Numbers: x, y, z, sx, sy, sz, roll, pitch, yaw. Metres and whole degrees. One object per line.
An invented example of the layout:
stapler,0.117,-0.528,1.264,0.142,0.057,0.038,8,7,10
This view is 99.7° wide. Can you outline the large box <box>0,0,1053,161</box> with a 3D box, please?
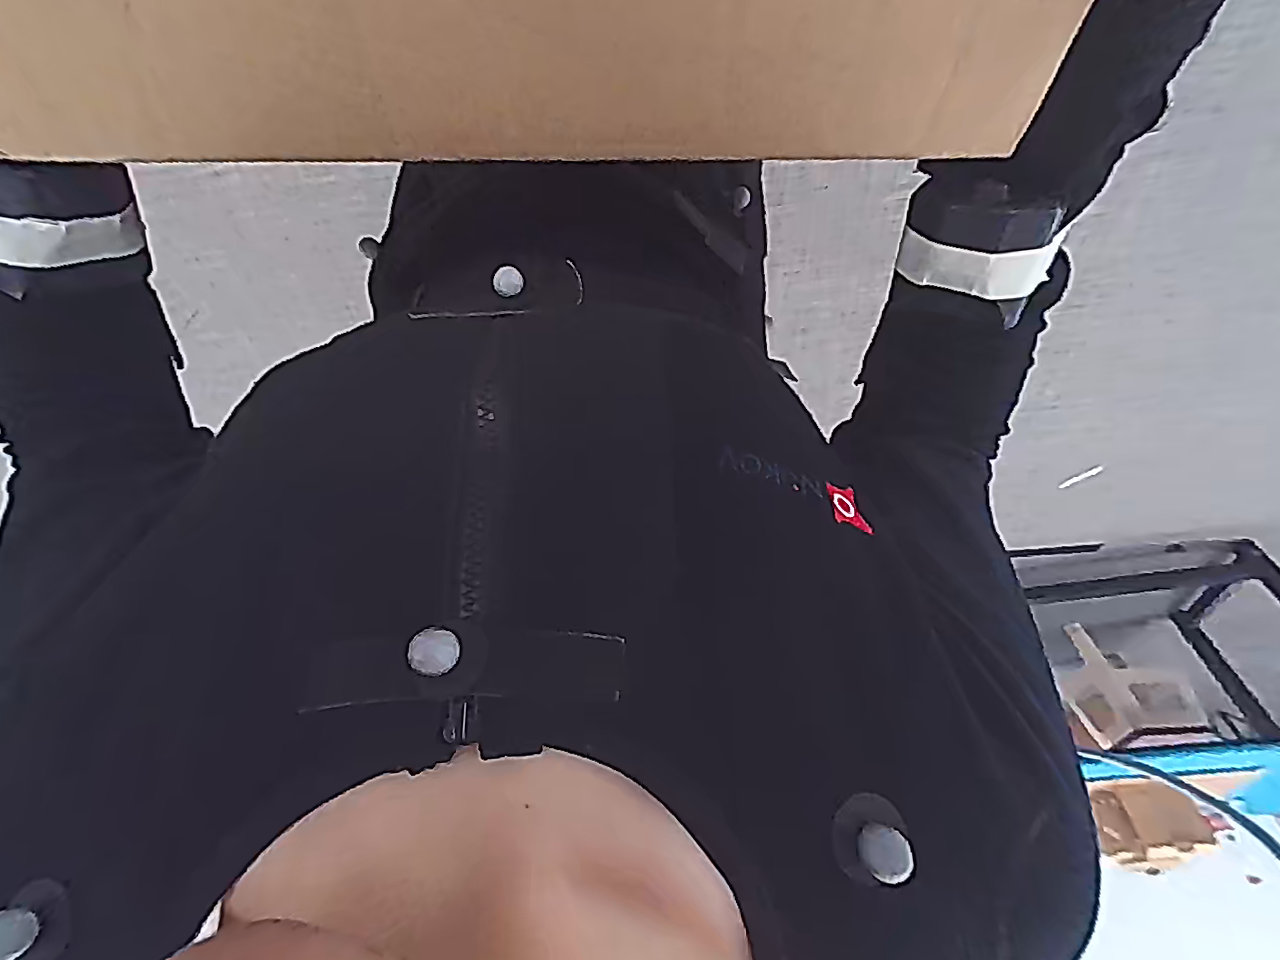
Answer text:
large box,-0.057,-0.346,0.185,0.408,0.320,0.320,0,143,0
